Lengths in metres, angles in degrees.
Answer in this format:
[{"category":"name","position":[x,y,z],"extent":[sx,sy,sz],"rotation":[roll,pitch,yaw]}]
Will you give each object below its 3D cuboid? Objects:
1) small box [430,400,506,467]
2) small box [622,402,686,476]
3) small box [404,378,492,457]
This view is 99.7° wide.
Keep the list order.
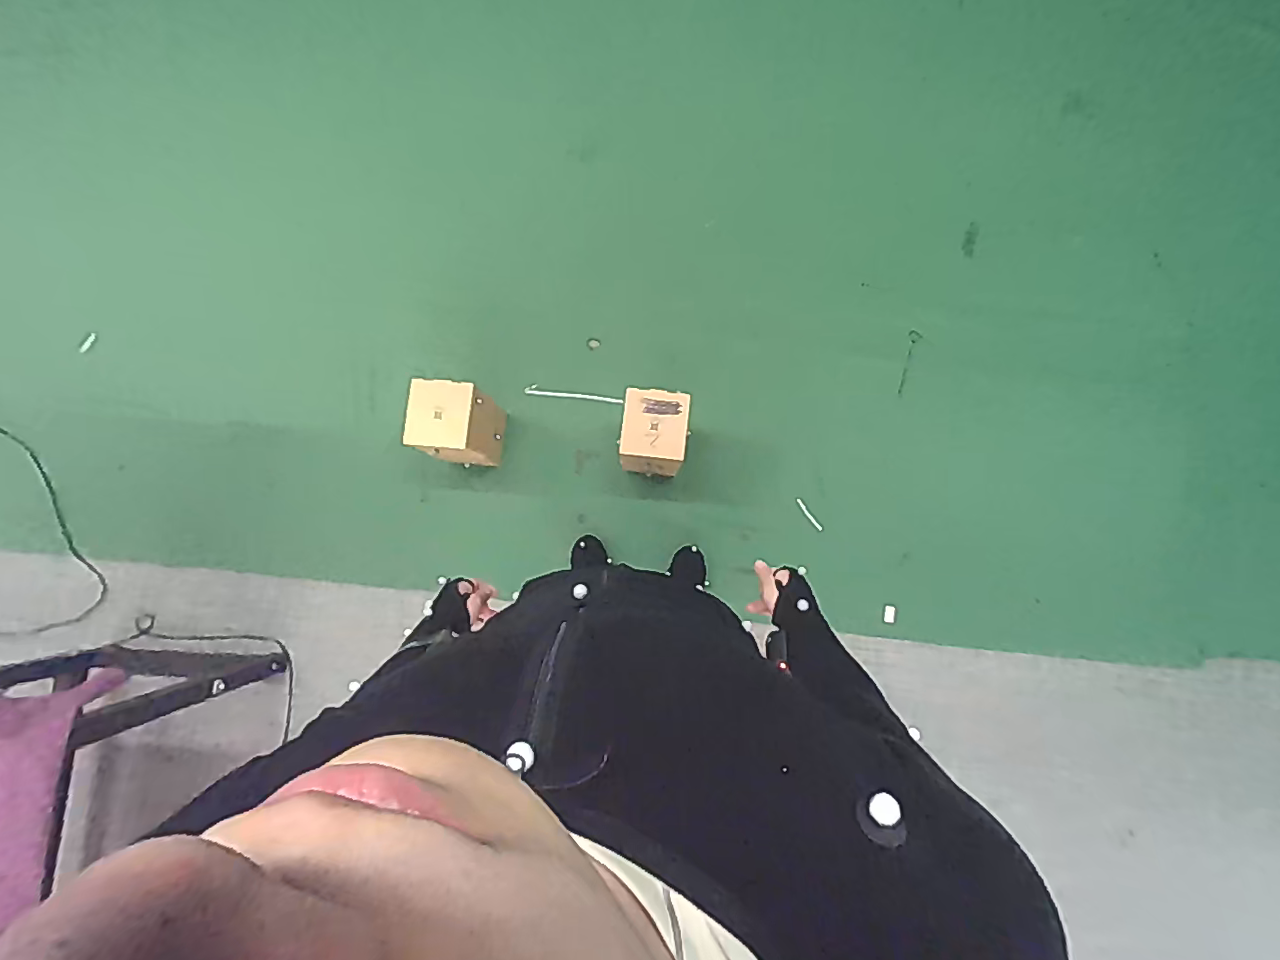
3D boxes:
[{"category":"small box","position":[-0.508,-0.143,1.620],"extent":[0.168,0.176,0.179],"rotation":[5,84,3]},{"category":"small box","position":[0.040,-0.117,1.604],"extent":[0.168,0.176,0.179],"rotation":[7,84,2]},{"category":"small box","position":[-0.510,-0.161,1.460],"extent":[0.168,0.176,0.179],"rotation":[5,83,3]}]
